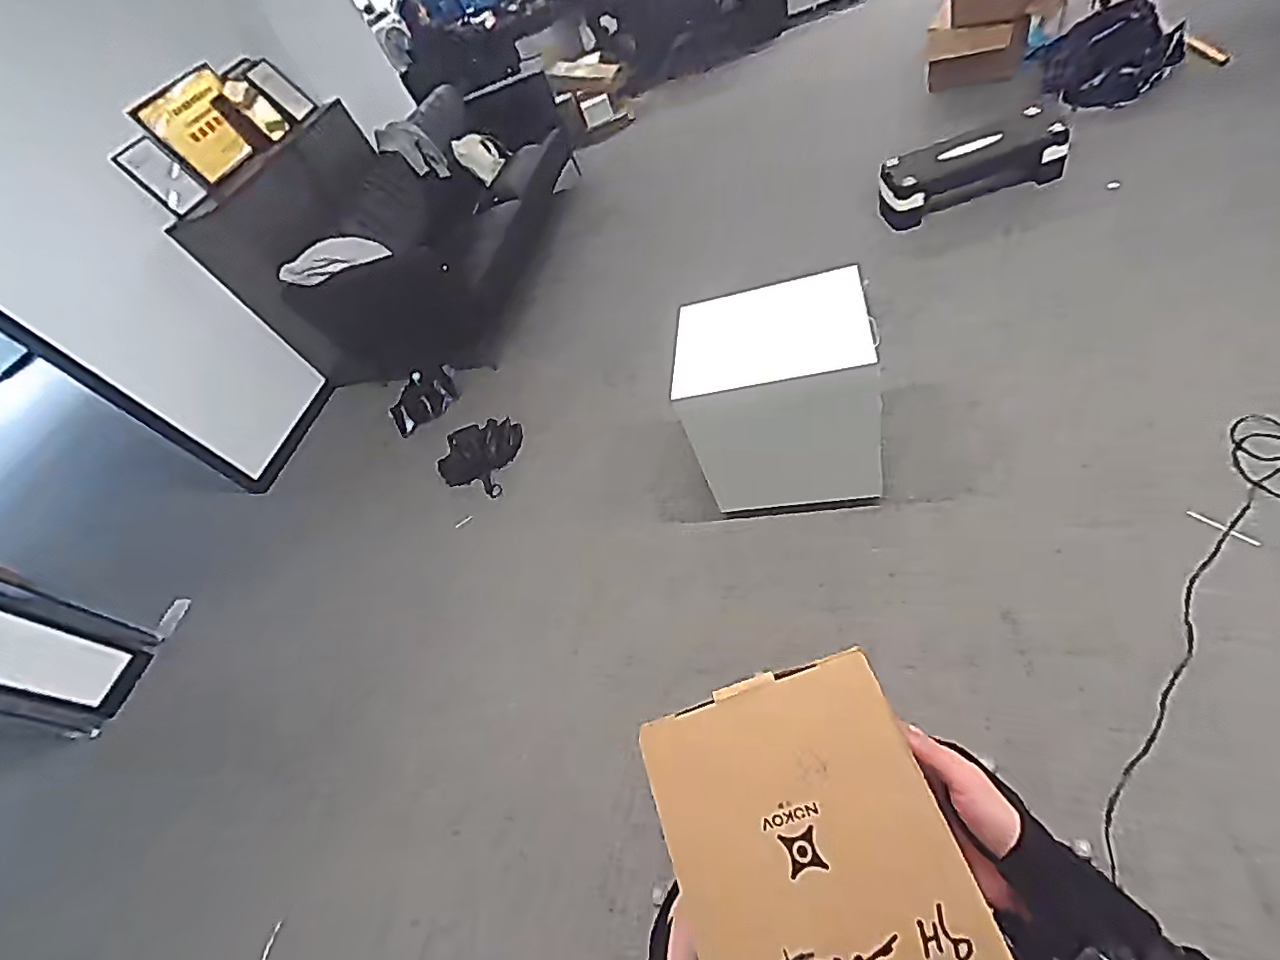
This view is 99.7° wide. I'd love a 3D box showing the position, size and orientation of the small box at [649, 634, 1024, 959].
[{"bbox_3d":[0.128,0.237,0.399,0.168,0.176,0.179,-25,60,10],"label":"small box"}]
